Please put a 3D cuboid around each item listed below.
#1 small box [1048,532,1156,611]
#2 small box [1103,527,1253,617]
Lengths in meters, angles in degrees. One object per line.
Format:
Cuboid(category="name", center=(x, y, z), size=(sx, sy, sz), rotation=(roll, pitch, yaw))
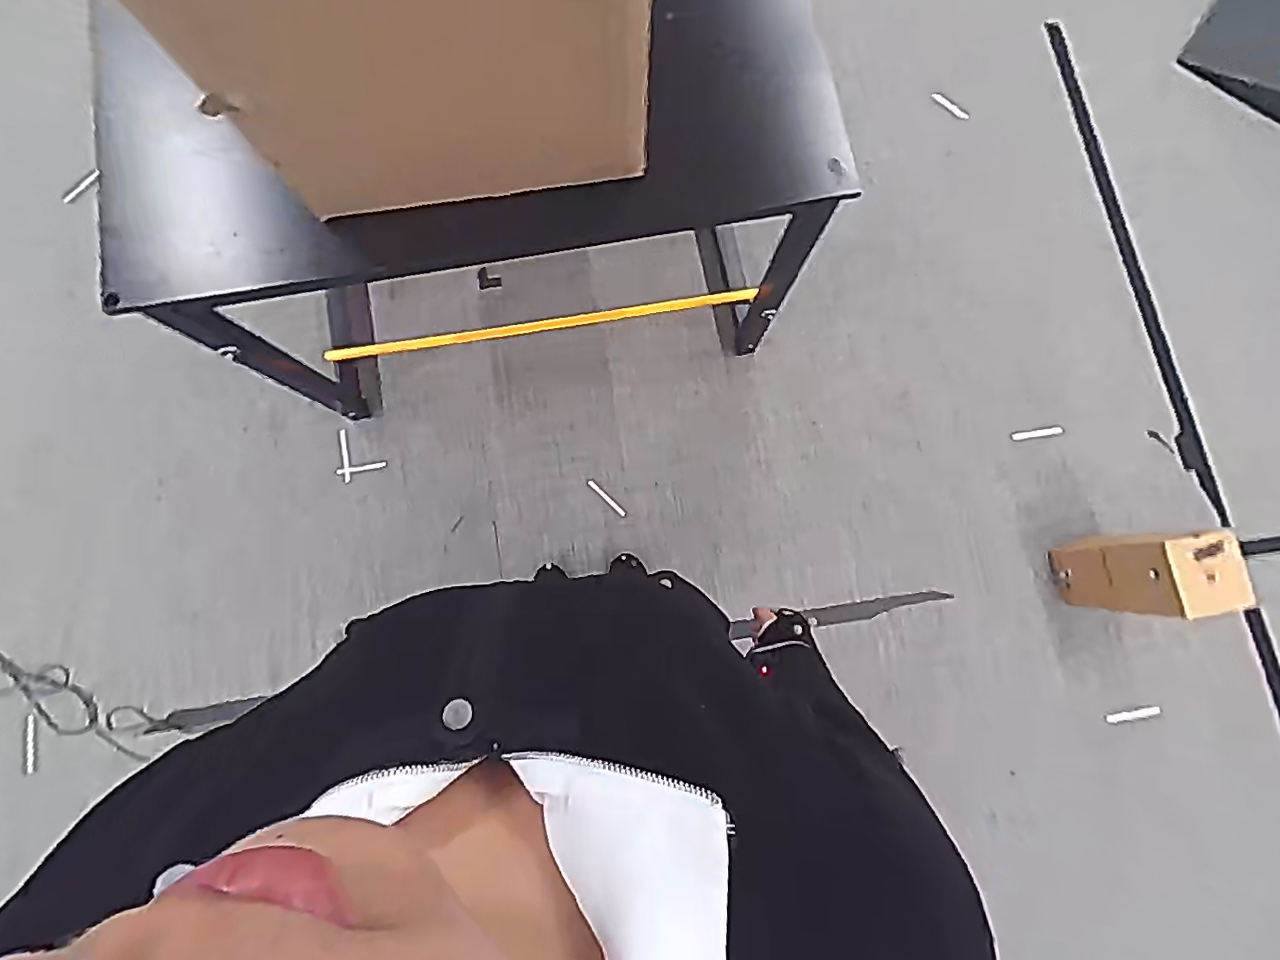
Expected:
Cuboid(category="small box", center=(1.253, 0.240, 1.442), size=(0.179, 0.176, 0.168), rotation=(-15, 81, -2))
Cuboid(category="small box", center=(1.256, 0.216, 1.279), size=(0.168, 0.176, 0.179), rotation=(-10, 82, -2))
